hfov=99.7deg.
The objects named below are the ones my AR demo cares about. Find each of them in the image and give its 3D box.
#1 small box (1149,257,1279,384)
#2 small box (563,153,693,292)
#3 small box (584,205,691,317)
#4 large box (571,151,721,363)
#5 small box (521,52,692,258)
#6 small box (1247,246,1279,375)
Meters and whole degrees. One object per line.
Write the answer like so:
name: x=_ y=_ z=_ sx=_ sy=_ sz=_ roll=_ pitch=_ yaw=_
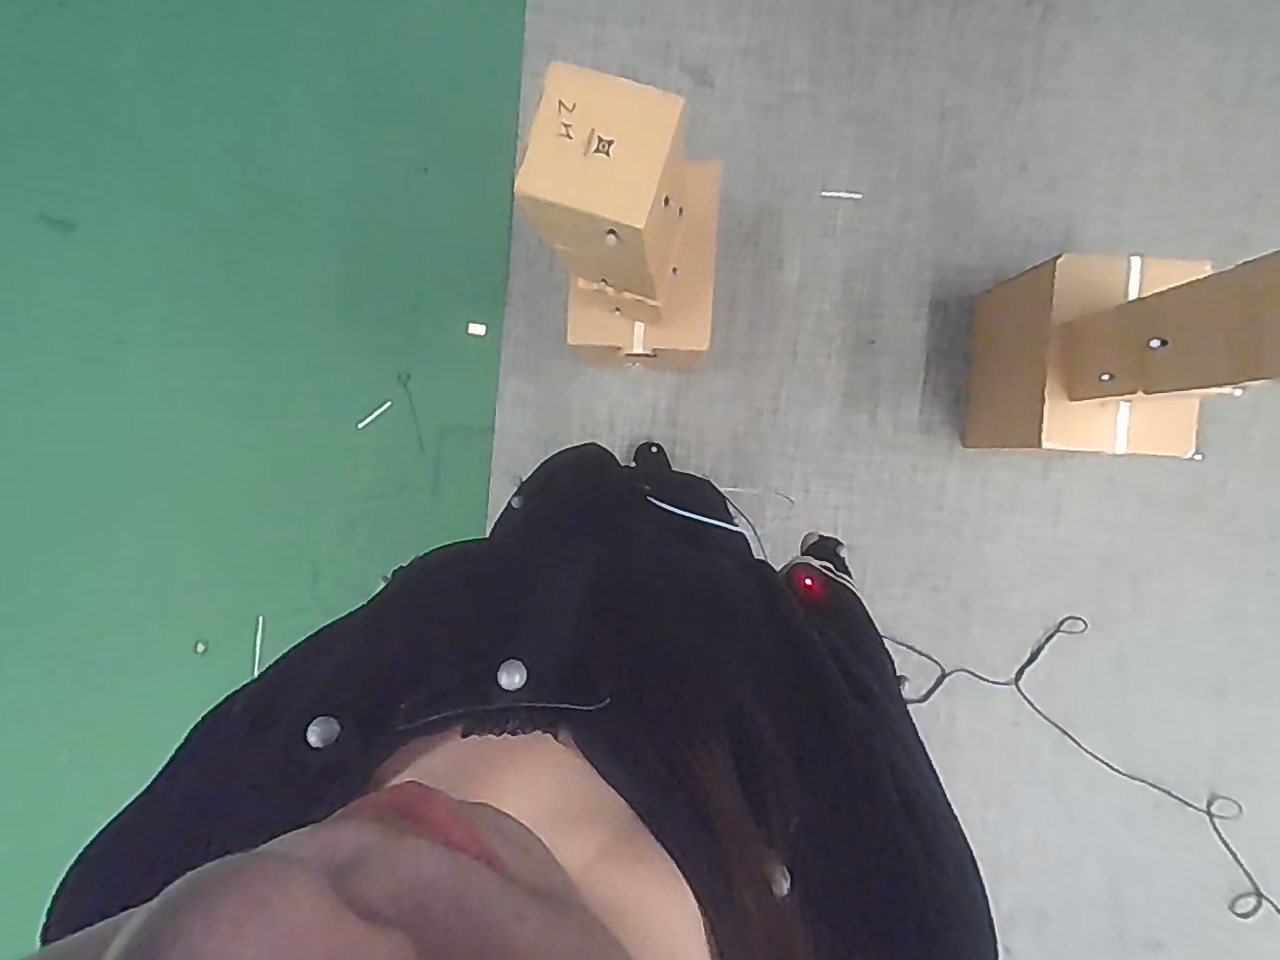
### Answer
small box: x=0.969 y=-0.250 z=0.865 sx=0.168 sy=0.176 sz=0.179 roll=-5 pitch=94 yaw=5
small box: x=-0.017 y=-0.443 z=0.910 sx=0.168 sy=0.176 sz=0.179 roll=18 pitch=96 yaw=3
small box: x=-0.002 y=-0.443 z=1.072 sx=0.168 sy=0.176 sz=0.179 roll=15 pitch=95 yaw=3
large box: x=0.022 y=-0.510 z=1.310 sx=0.320 sy=0.320 sz=0.408 roll=4 pitch=93 yaw=3
small box: x=-0.037 y=-0.429 z=0.747 sx=0.179 sy=0.176 sz=0.168 roll=19 pitch=95 yaw=3
small box: x=0.956 y=-0.241 z=0.701 sx=0.168 sy=0.176 sz=0.179 roll=-5 pitch=94 yaw=5
